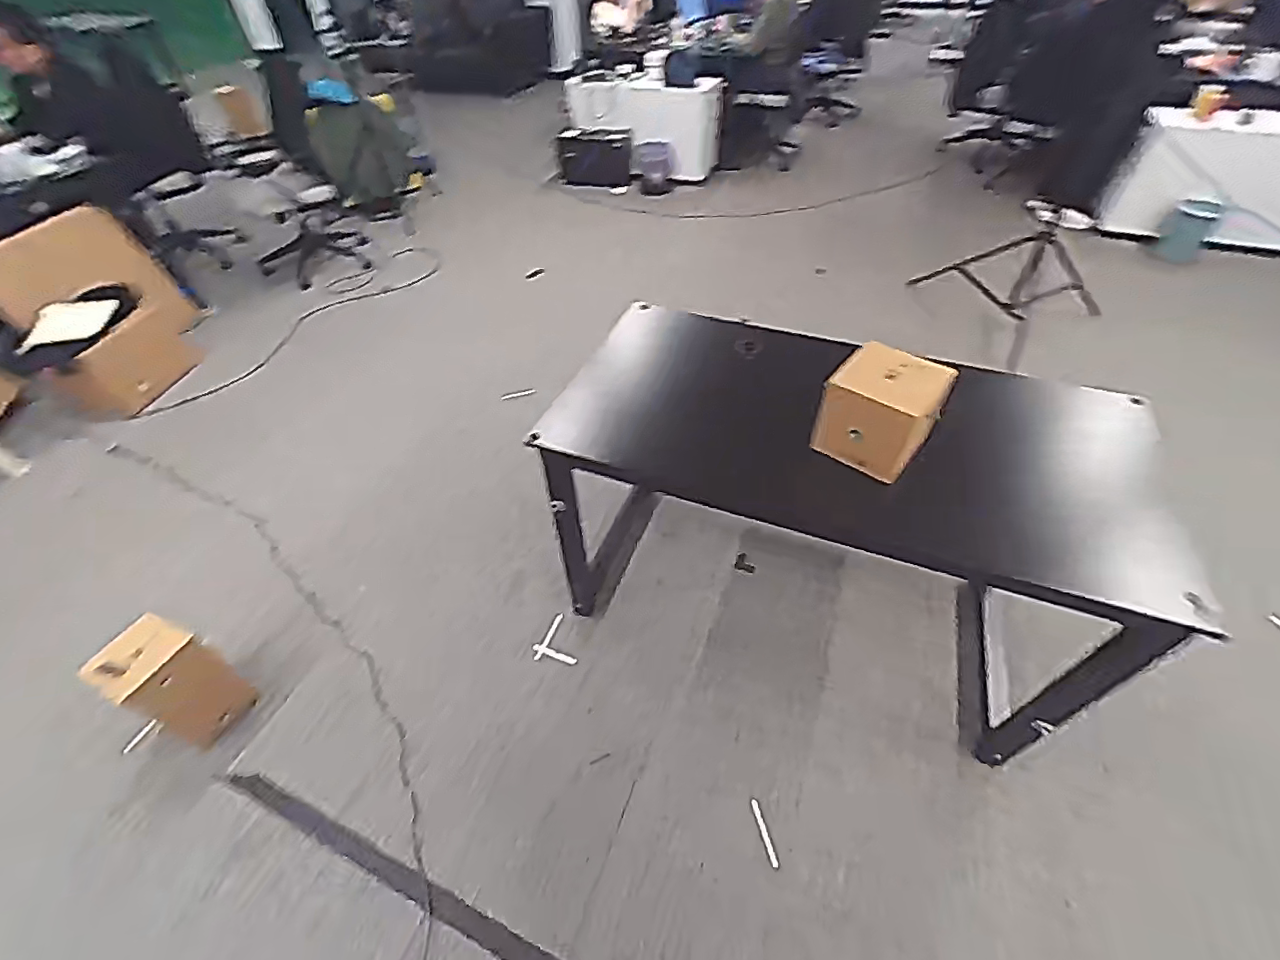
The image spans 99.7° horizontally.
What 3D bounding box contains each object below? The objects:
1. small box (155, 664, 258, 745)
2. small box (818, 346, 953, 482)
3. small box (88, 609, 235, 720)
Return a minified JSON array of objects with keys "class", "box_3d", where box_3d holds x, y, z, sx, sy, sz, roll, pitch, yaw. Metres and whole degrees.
[{"class":"small box","box_3d":[-1.171,0.567,1.448,0.168,0.176,0.179,22,51,21]},{"class":"small box","box_3d":[0.464,-0.126,1.049,0.168,0.176,0.179,32,55,27]},{"class":"small box","box_3d":[-1.158,0.456,1.325,0.168,0.176,0.179,18,50,17]}]
